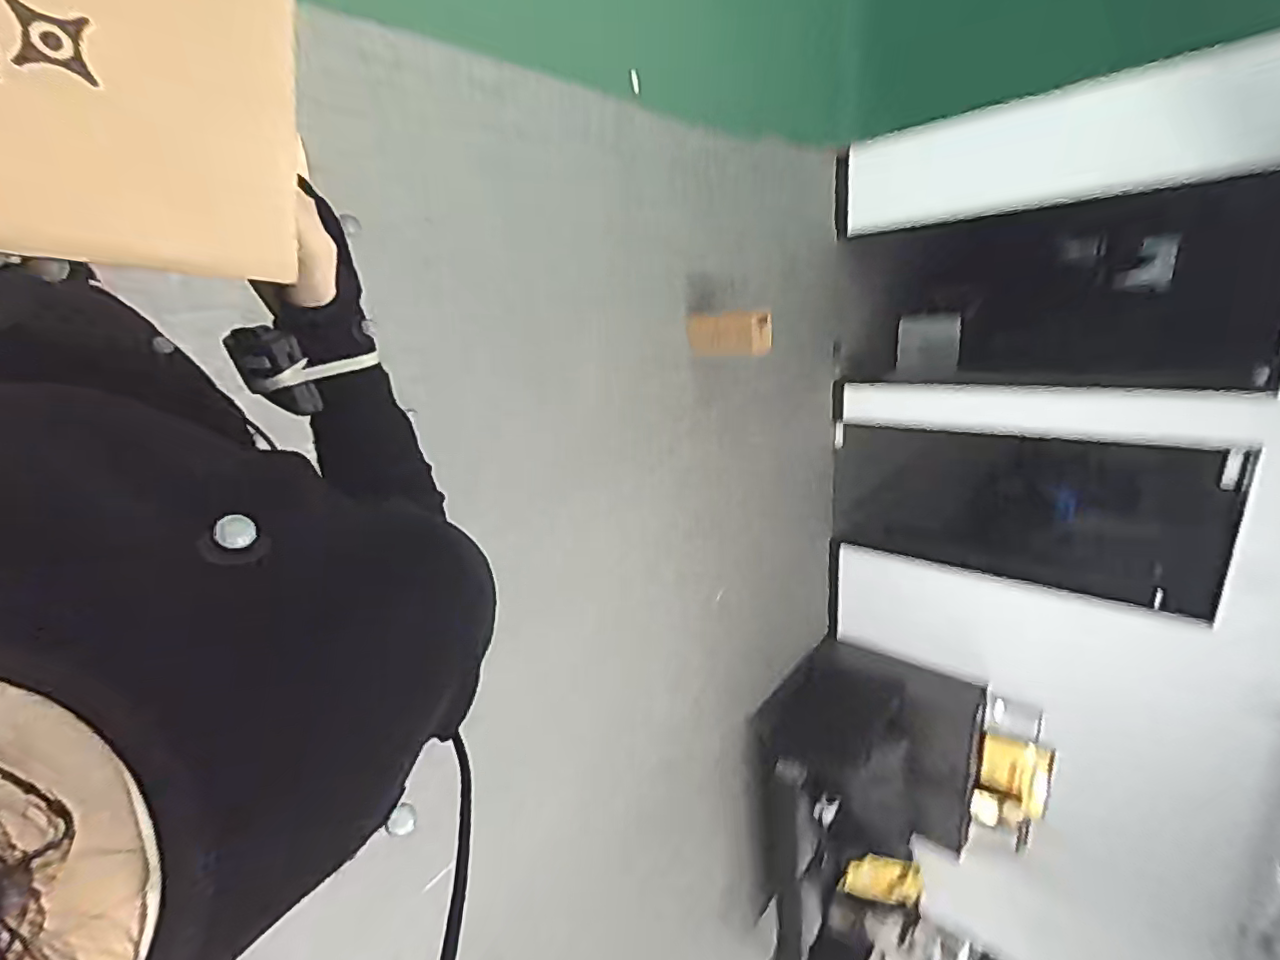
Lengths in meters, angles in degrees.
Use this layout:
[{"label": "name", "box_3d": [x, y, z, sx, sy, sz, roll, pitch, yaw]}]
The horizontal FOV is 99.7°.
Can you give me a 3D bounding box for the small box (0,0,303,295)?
[{"label": "small box", "box_3d": [-0.288, -0.202, 0.259, 0.179, 0.176, 0.168, -11, 125, -46]}]
